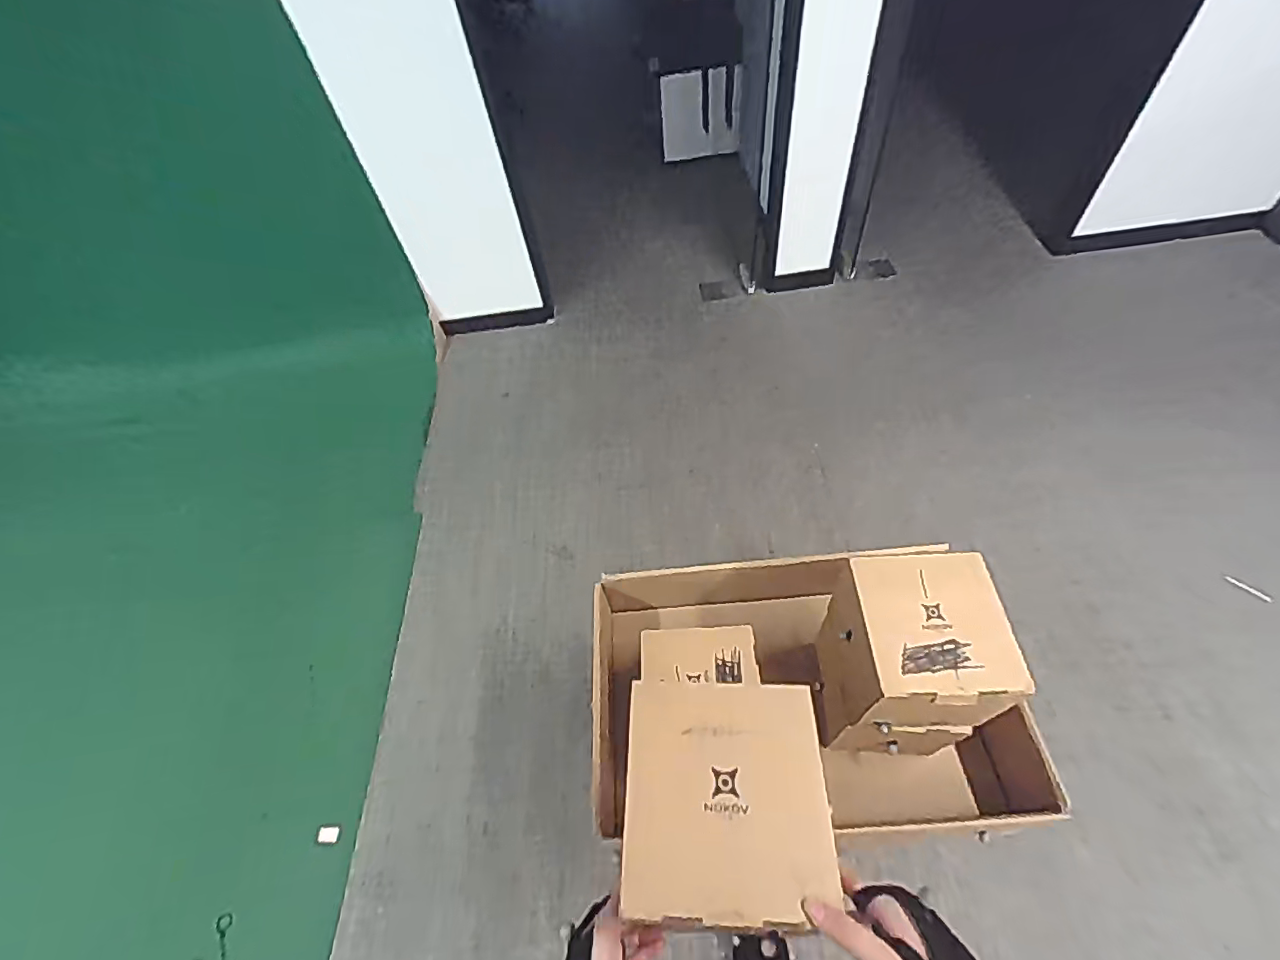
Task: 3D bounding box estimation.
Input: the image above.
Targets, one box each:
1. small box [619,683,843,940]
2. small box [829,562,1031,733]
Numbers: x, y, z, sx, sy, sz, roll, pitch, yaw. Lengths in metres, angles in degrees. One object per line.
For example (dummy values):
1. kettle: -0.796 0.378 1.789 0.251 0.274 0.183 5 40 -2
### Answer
1. small box: 0.074 0.311 0.506 0.168 0.176 0.179 2 48 3
2. small box: 0.359 0.225 0.711 0.168 0.176 0.179 -3 53 5
